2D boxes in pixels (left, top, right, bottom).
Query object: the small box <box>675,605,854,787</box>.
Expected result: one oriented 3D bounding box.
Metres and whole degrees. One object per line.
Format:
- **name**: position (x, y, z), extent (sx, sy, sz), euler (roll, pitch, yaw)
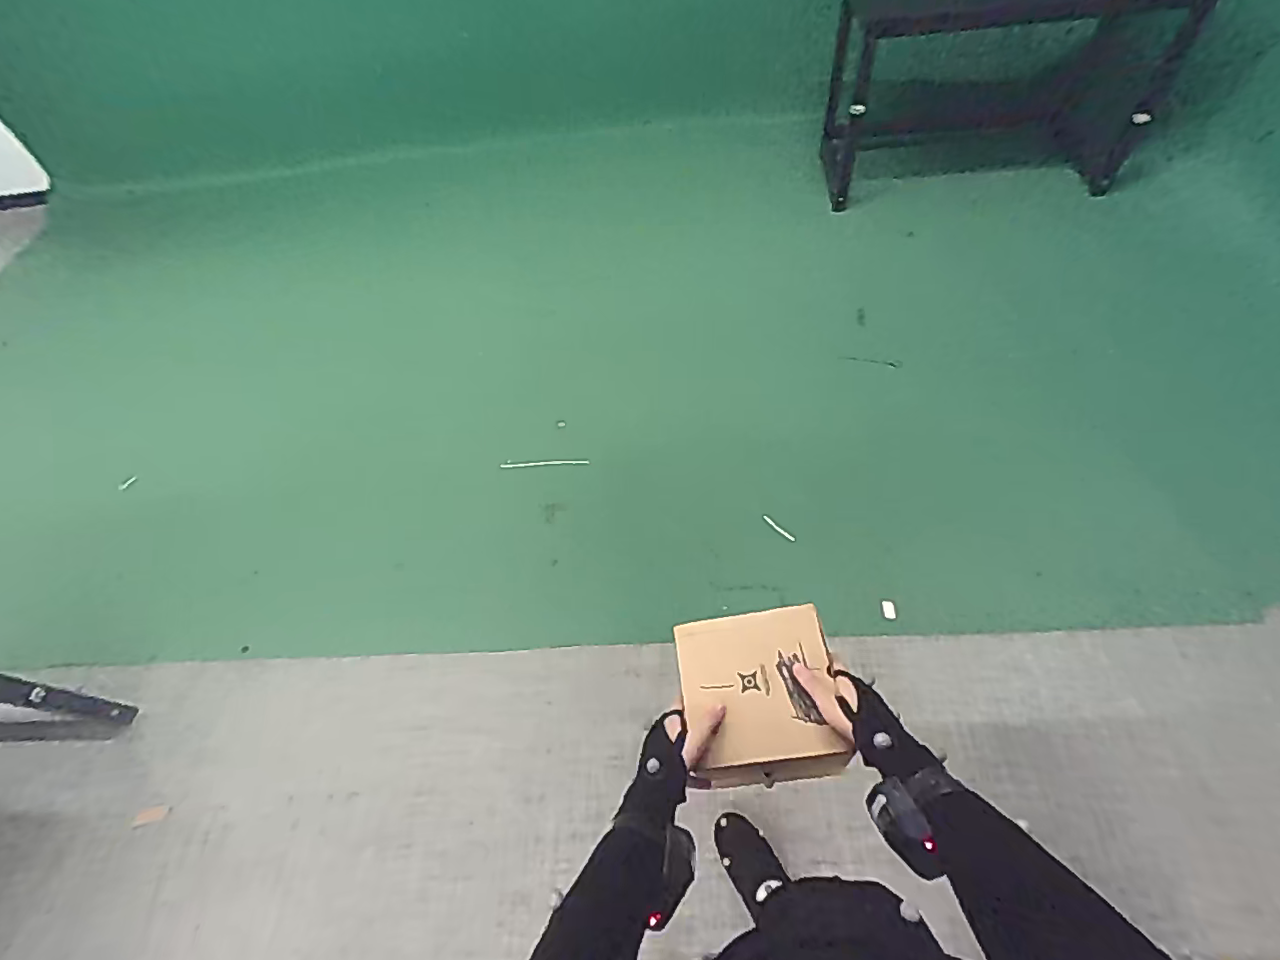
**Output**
- **small box**: position (0.148, 0.275, 0.676), extent (0.179, 0.176, 0.168), euler (-11, 52, 7)
